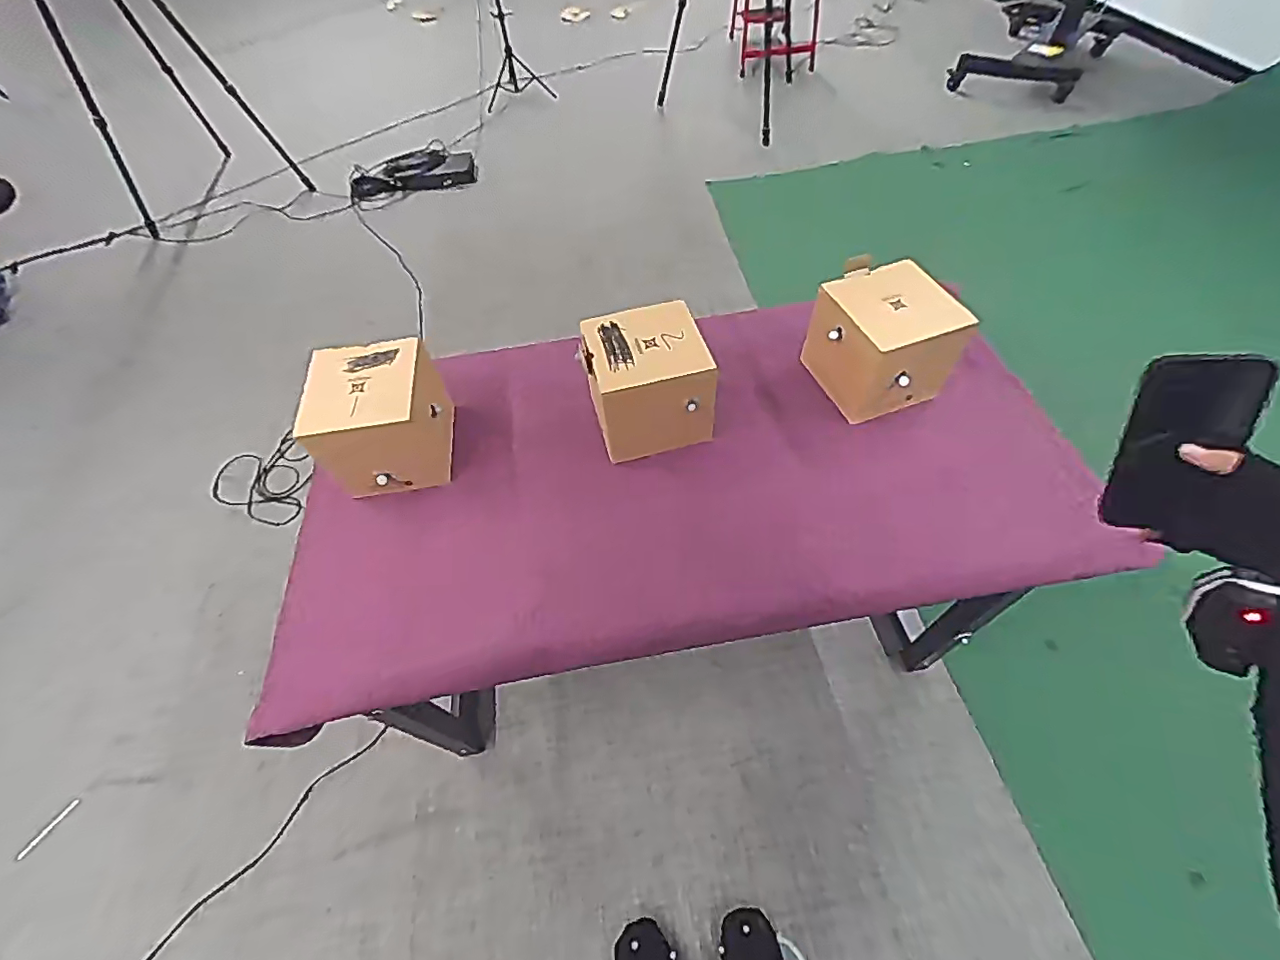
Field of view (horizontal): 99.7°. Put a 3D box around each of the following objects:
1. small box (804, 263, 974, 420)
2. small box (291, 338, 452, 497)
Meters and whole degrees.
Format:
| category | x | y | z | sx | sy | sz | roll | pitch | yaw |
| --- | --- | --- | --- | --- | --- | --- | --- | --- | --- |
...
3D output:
| category | x | y | z | sx | sy | sz | roll | pitch | yaw |
| --- | --- | --- | --- | --- | --- | --- | --- | --- | --- |
| small box | 0.395 | -0.220 | 0.895 | 0.168 | 0.176 | 0.179 | -18 | 56 | -8 |
| small box | -0.409 | -0.096 | 0.859 | 0.168 | 0.176 | 0.179 | -8 | 57 | -2 |
